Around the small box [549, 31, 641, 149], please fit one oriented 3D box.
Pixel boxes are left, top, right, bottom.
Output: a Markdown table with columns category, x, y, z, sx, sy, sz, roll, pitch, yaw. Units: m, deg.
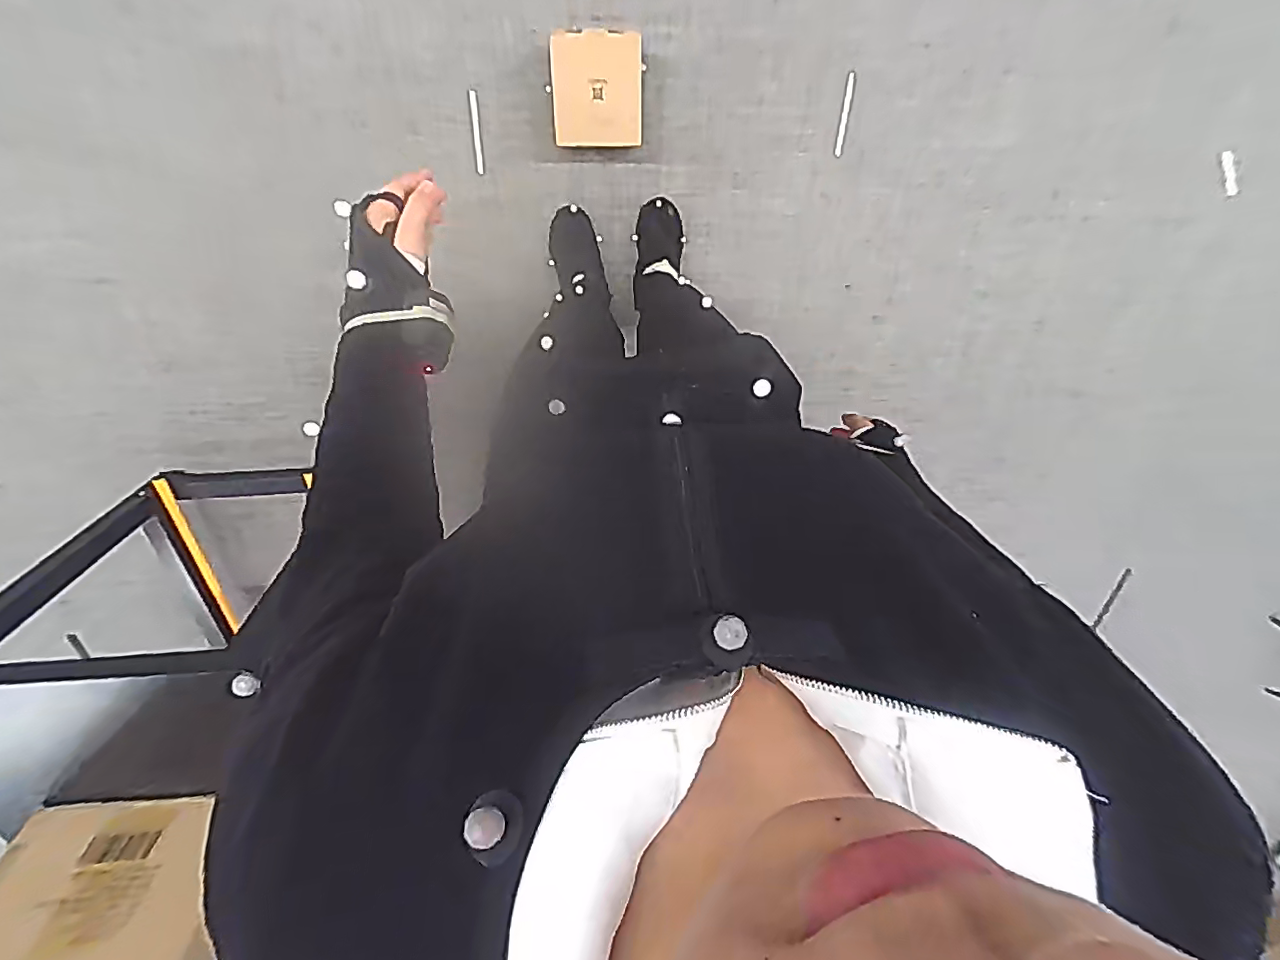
| category | x | y | z | sx | sy | sz | roll | pitch | yaw |
| --- | --- | --- | --- | --- | --- | --- | --- | --- | --- |
| small box | -0.087 | -0.754 | 1.061 | 0.168 | 0.176 | 0.179 | -3 | 123 | -4 |
